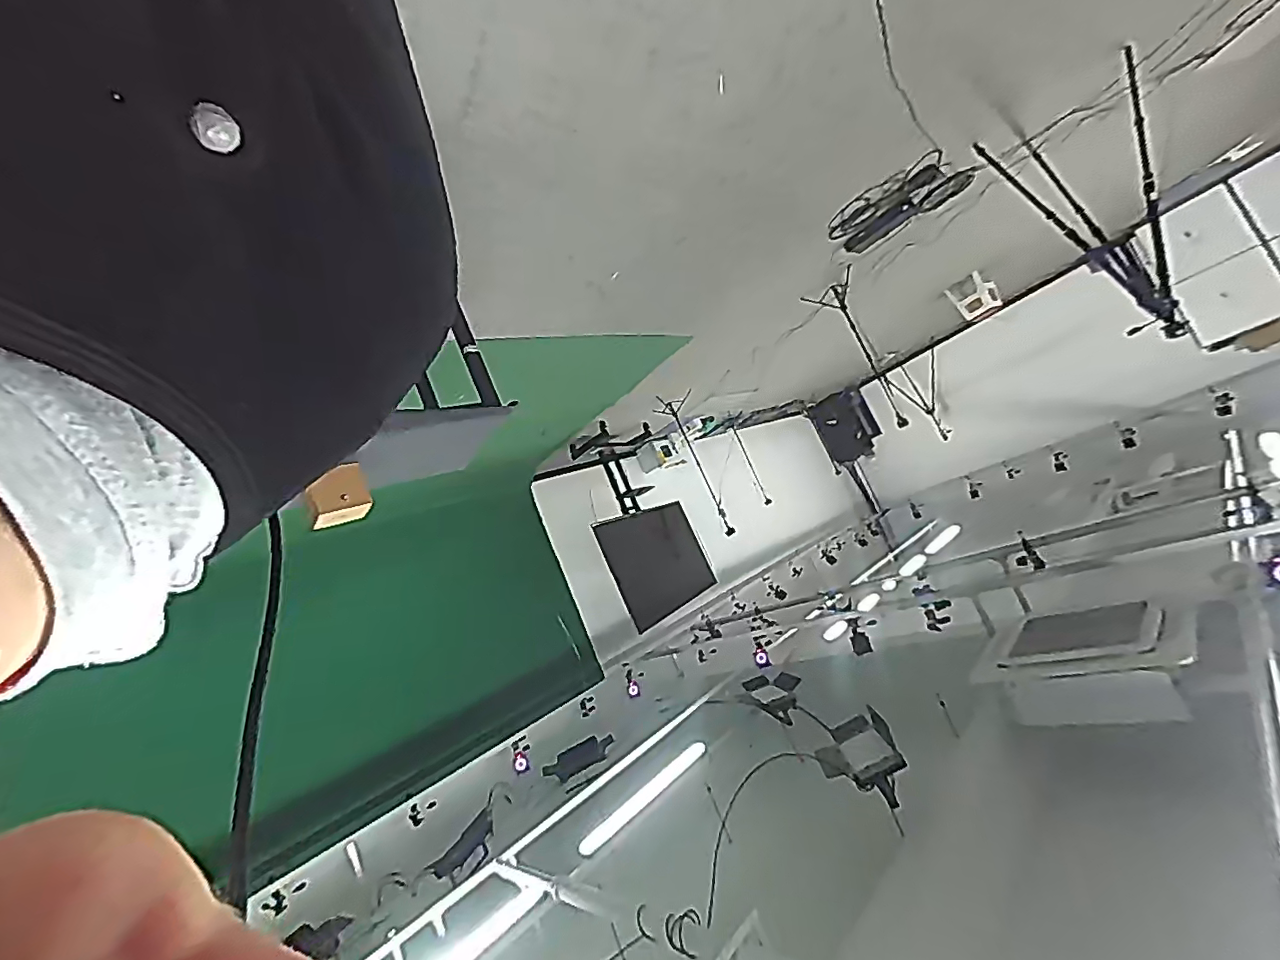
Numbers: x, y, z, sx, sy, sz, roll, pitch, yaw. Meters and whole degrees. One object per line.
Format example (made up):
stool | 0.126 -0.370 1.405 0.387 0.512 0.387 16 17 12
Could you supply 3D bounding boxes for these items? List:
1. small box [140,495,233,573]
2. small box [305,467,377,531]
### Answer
small box | -1.384 0.160 1.650 0.179 0.176 0.168 -17 169 -48
small box | -1.080 0.064 1.950 0.179 0.176 0.168 -16 167 -41
